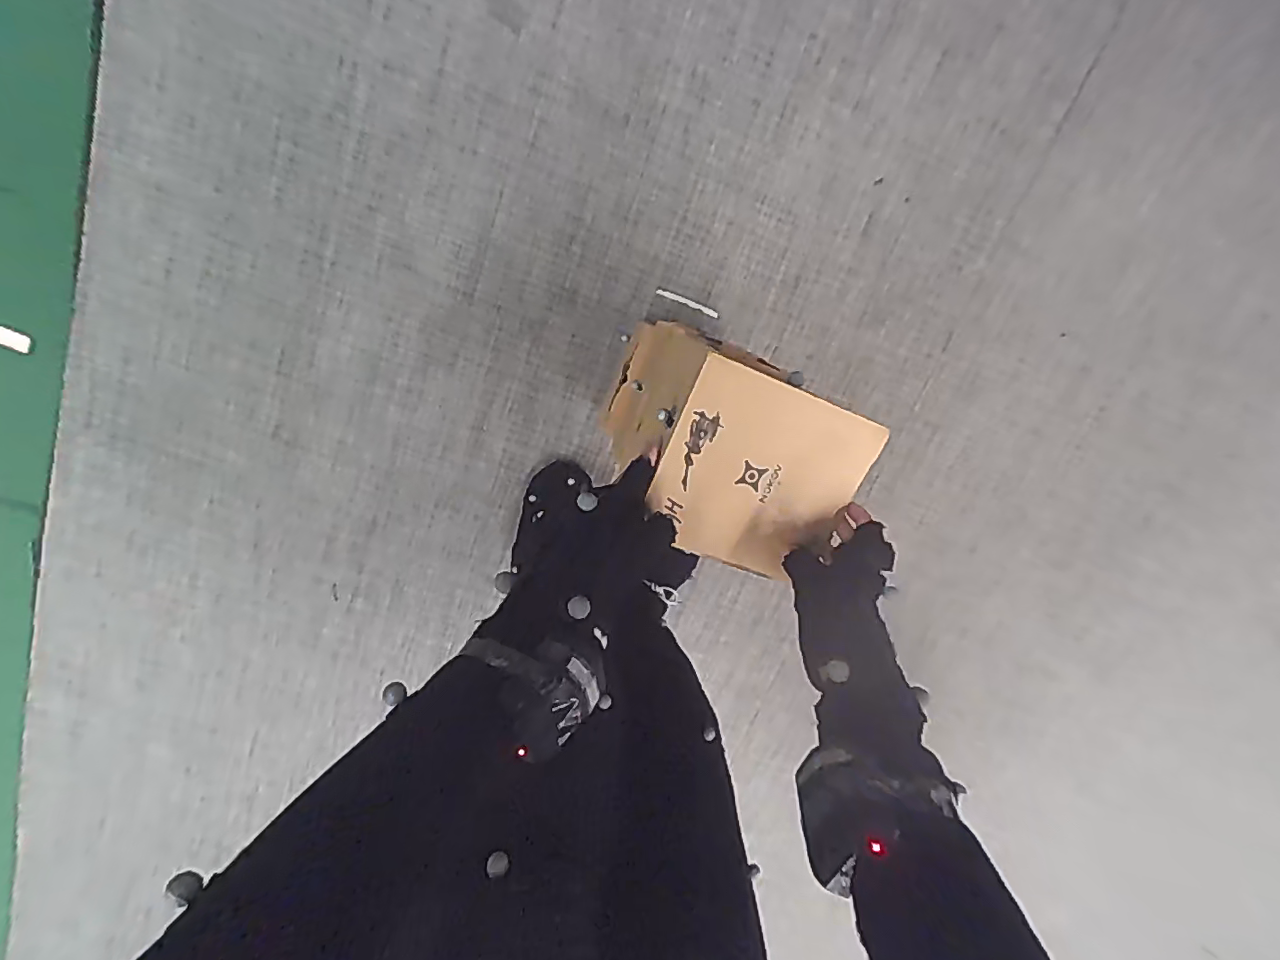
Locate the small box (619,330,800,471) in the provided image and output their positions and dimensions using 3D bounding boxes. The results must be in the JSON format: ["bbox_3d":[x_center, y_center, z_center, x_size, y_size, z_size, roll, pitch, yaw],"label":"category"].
[{"bbox_3d":[0.075,-0.085,0.706,0.168,0.176,0.179,21,105,-8],"label":"small box"}]

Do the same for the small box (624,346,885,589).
[{"bbox_3d":[0.095,-0.024,0.543,0.179,0.176,0.168,21,106,-12],"label":"small box"}]

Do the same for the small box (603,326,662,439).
[{"bbox_3d":[0.049,-0.131,0.859,0.179,0.176,0.168,22,104,-11],"label":"small box"}]
